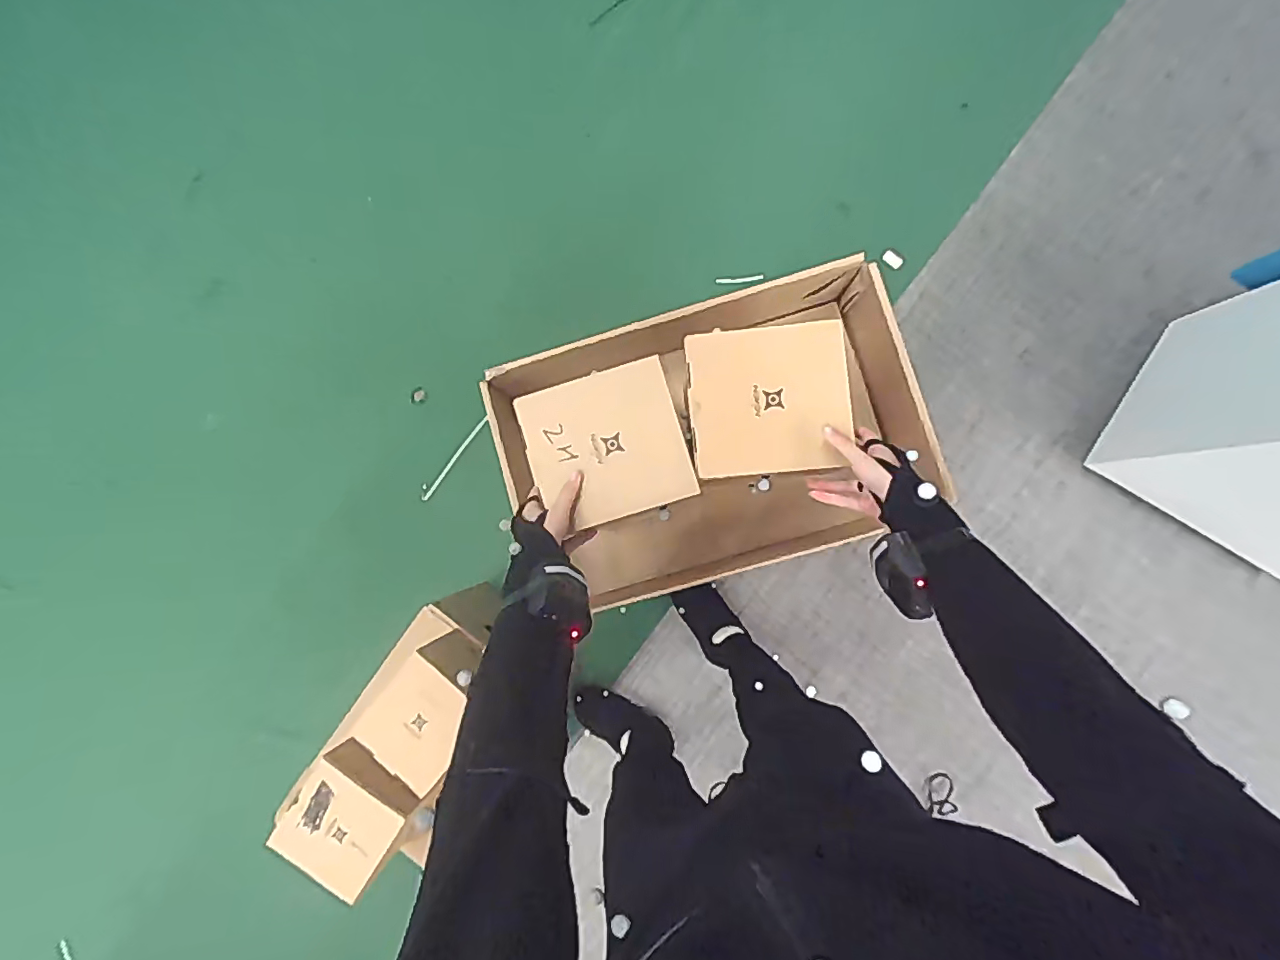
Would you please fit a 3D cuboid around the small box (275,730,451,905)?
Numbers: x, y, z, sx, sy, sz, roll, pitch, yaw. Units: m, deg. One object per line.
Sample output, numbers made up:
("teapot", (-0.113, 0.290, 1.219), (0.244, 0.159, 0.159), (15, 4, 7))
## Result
("small box", (-0.473, 0.570, 0.949), (0.179, 0.176, 0.168), (33, 89, 6))
